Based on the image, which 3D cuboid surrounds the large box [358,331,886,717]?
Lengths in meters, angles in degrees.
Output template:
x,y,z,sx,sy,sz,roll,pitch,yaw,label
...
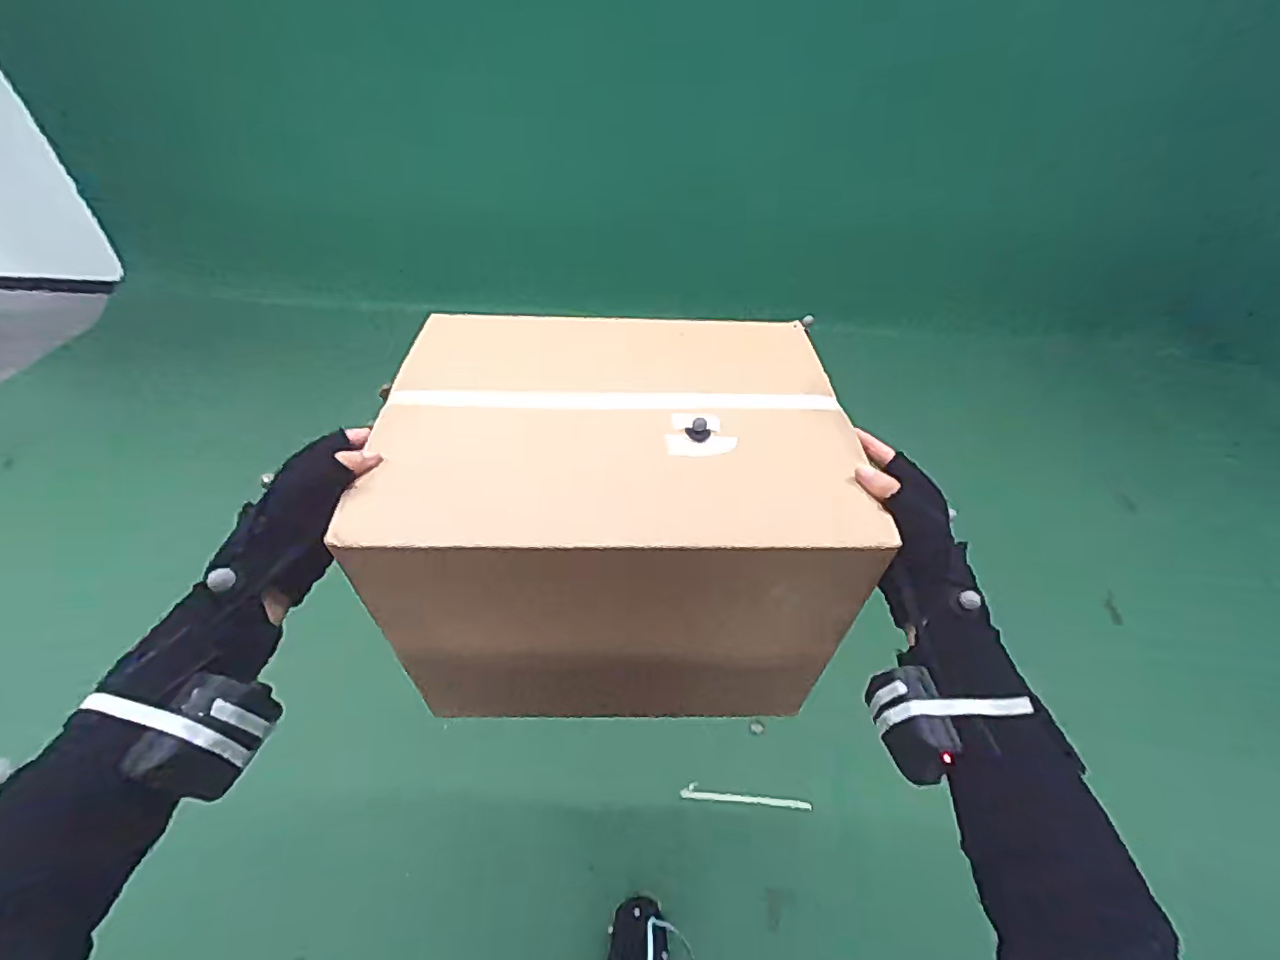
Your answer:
x,y,z,sx,sy,sz,roll,pitch,yaw,label
-0.022,0.049,0.607,0.408,0.320,0.320,1,46,-3,large box
